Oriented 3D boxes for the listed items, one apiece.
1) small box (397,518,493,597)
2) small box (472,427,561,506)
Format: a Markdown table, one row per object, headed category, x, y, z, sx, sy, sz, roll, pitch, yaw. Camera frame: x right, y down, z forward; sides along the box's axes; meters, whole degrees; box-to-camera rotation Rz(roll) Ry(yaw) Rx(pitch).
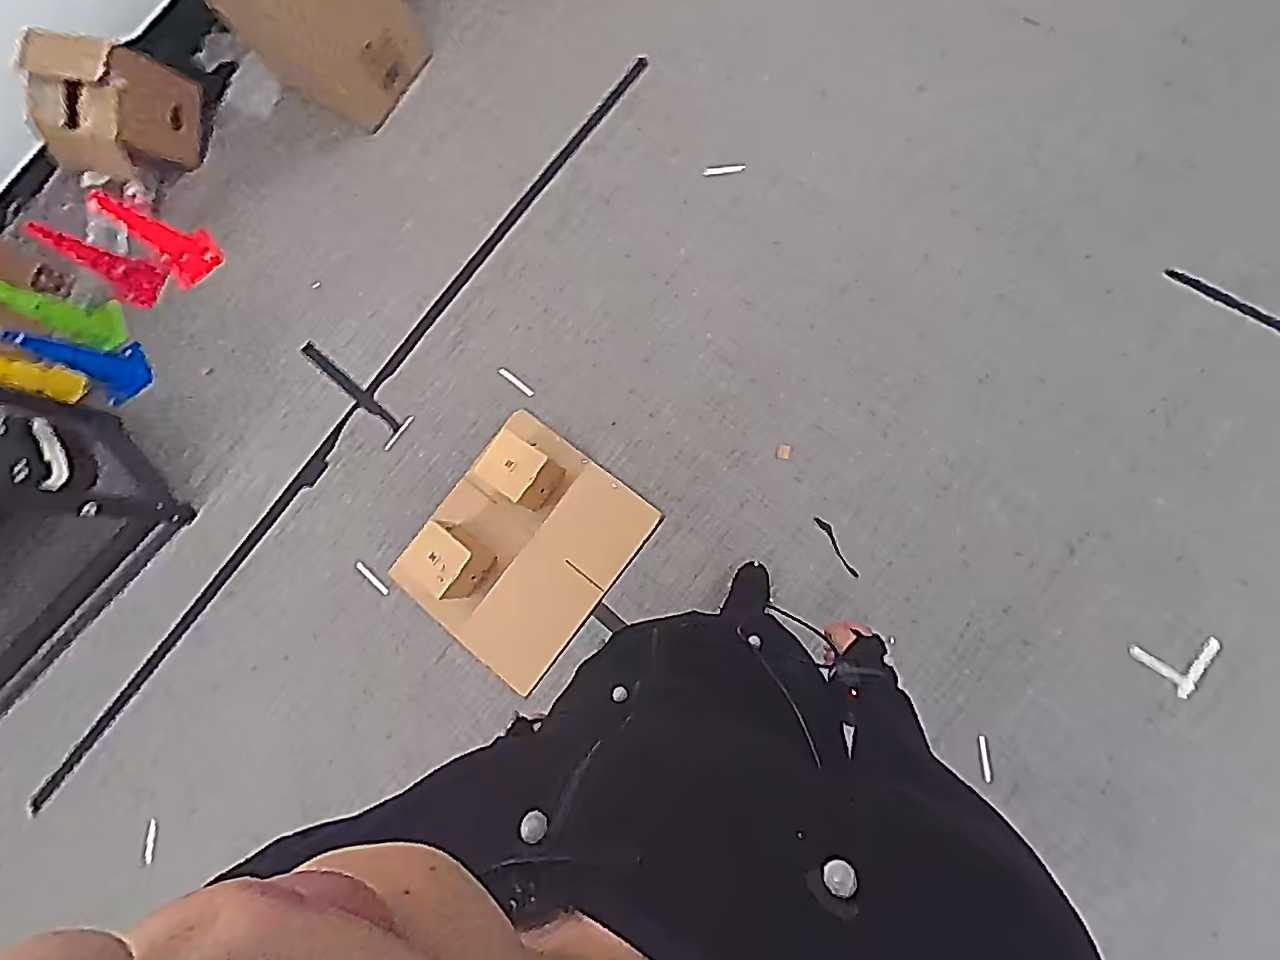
| category | x | y | z | sx | sy | sz | roll | pitch | yaw |
| --- | --- | --- | --- | --- | --- | --- | --- | --- | --- |
| small box | -0.584 | 0.238 | 1.638 | 0.179 | 0.176 | 0.168 | 36 | 88 | 13 |
| small box | -0.373 | -0.033 | 1.661 | 0.179 | 0.176 | 0.168 | 33 | 86 | 13 |
